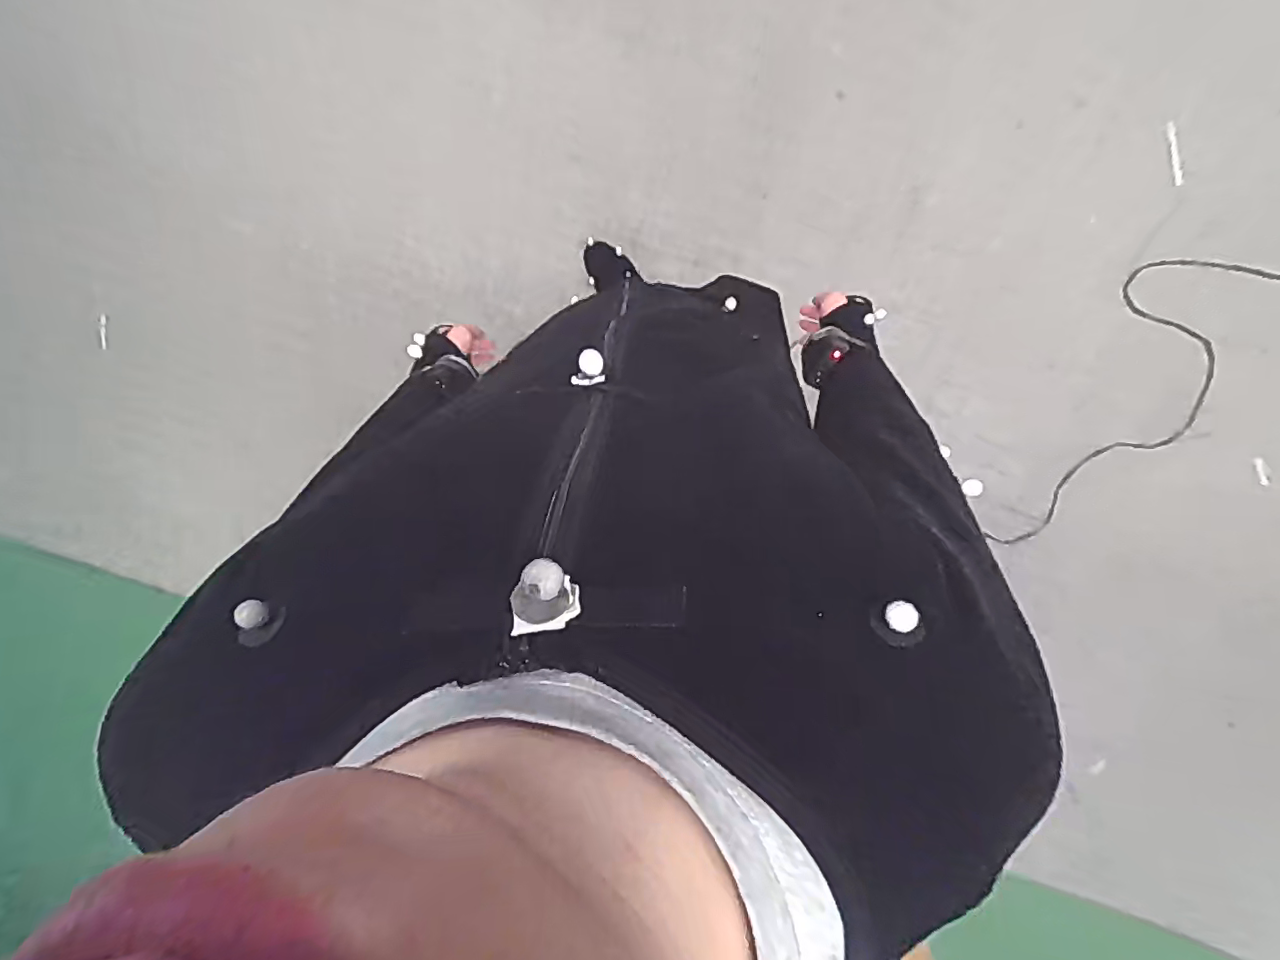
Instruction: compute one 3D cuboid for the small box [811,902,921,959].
[{"bbox_3d":[0.459,1.004,1.083,0.168,0.176,0.179,19,111,-3],"label":"small box"}]
